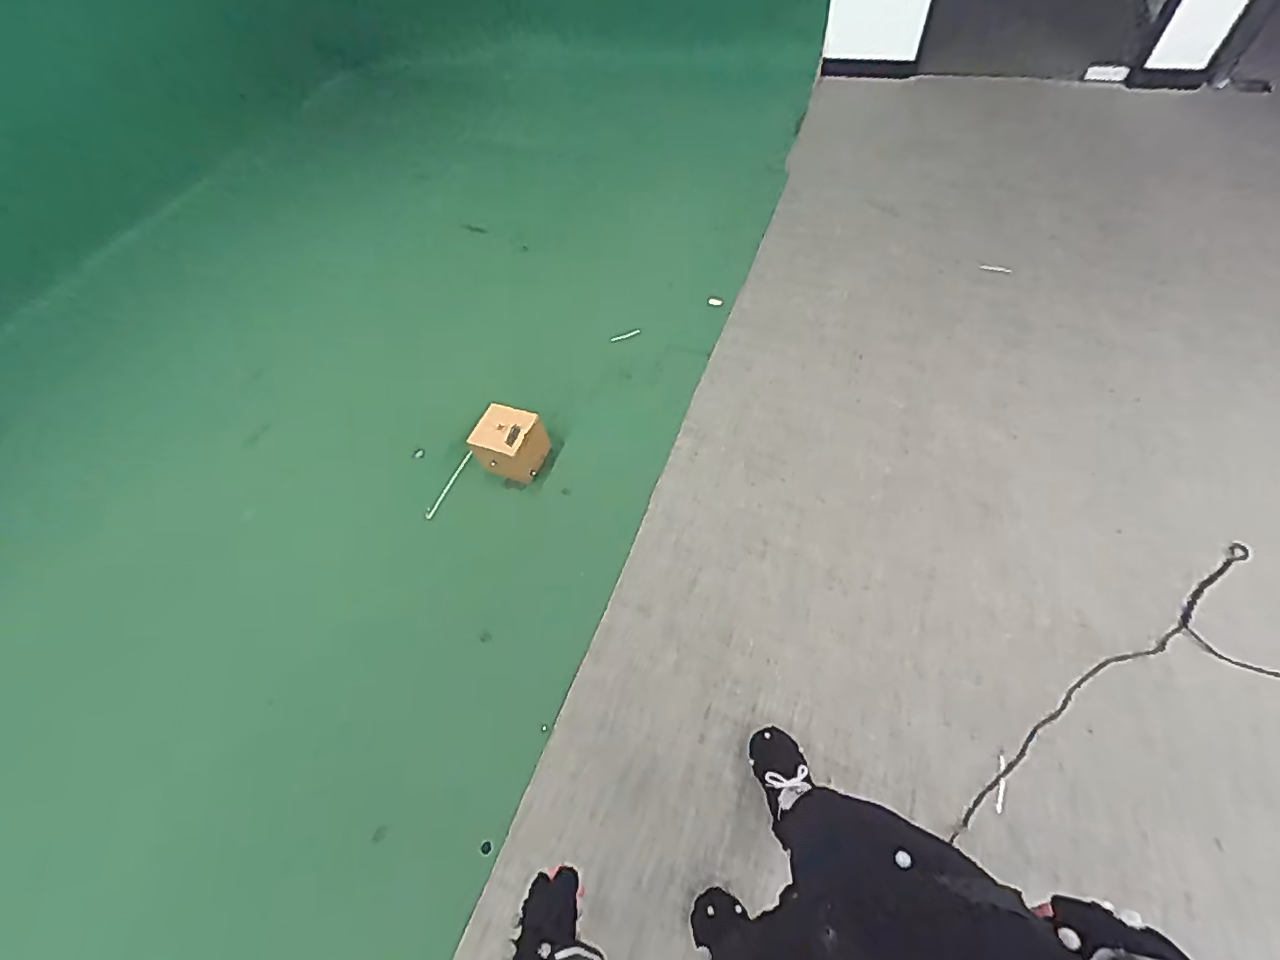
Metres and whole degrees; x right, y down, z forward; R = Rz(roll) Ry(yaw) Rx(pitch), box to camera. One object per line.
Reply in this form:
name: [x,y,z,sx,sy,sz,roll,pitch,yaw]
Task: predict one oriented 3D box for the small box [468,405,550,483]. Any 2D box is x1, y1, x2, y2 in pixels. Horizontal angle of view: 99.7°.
small box: [-0.411,-0.110,1.733,0.179,0.176,0.168,16,62,17]
